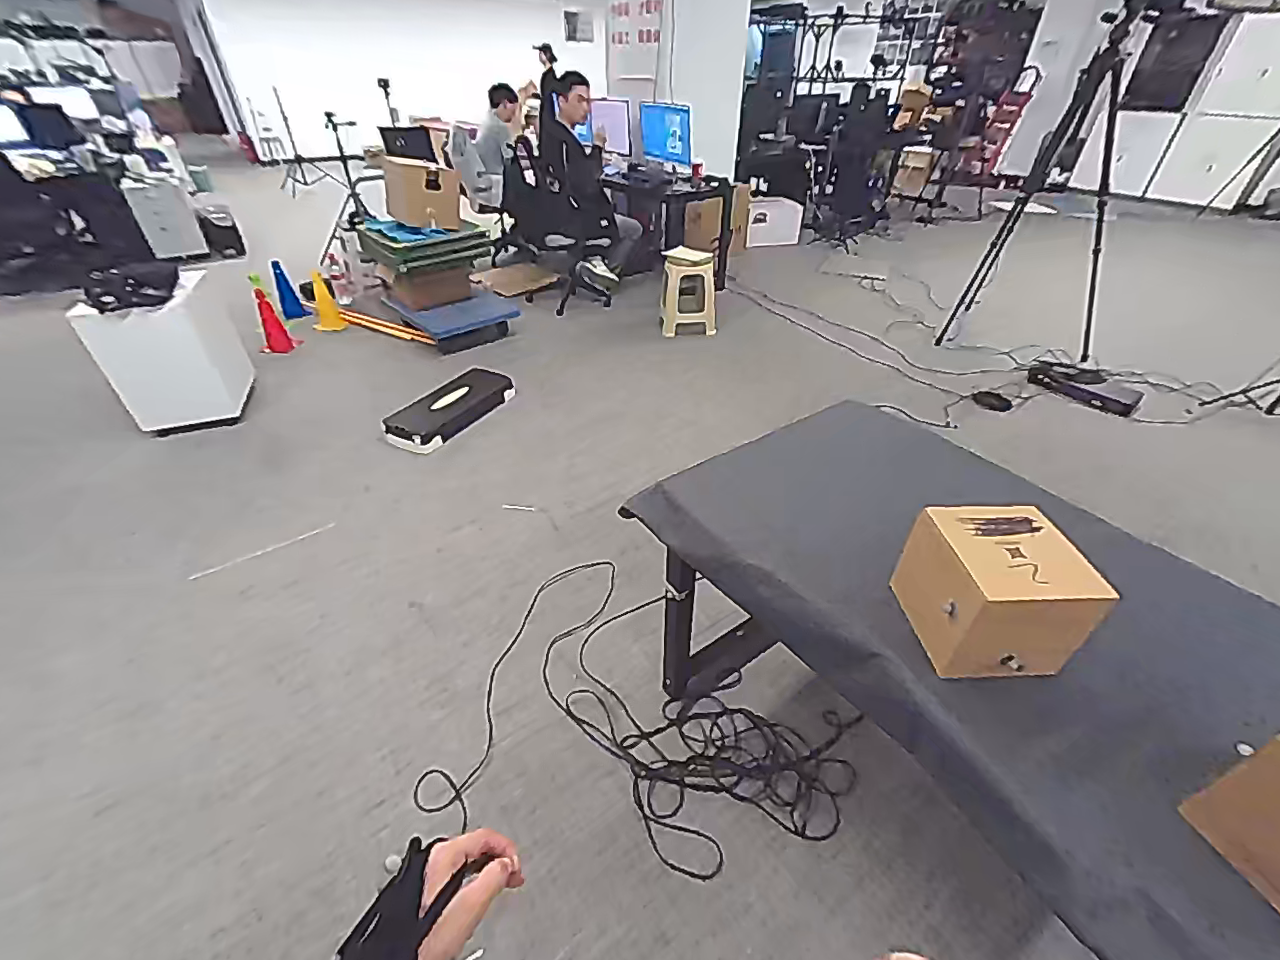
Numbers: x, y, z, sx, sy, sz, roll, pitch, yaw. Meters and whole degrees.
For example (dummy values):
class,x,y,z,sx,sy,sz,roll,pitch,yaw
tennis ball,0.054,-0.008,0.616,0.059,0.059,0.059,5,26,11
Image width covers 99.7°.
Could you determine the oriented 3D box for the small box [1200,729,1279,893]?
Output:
class,x,y,z,sx,sy,sz,roll,pitch,yaw
small box,0.713,0.332,0.519,0.179,0.176,0.168,-10,39,-14
